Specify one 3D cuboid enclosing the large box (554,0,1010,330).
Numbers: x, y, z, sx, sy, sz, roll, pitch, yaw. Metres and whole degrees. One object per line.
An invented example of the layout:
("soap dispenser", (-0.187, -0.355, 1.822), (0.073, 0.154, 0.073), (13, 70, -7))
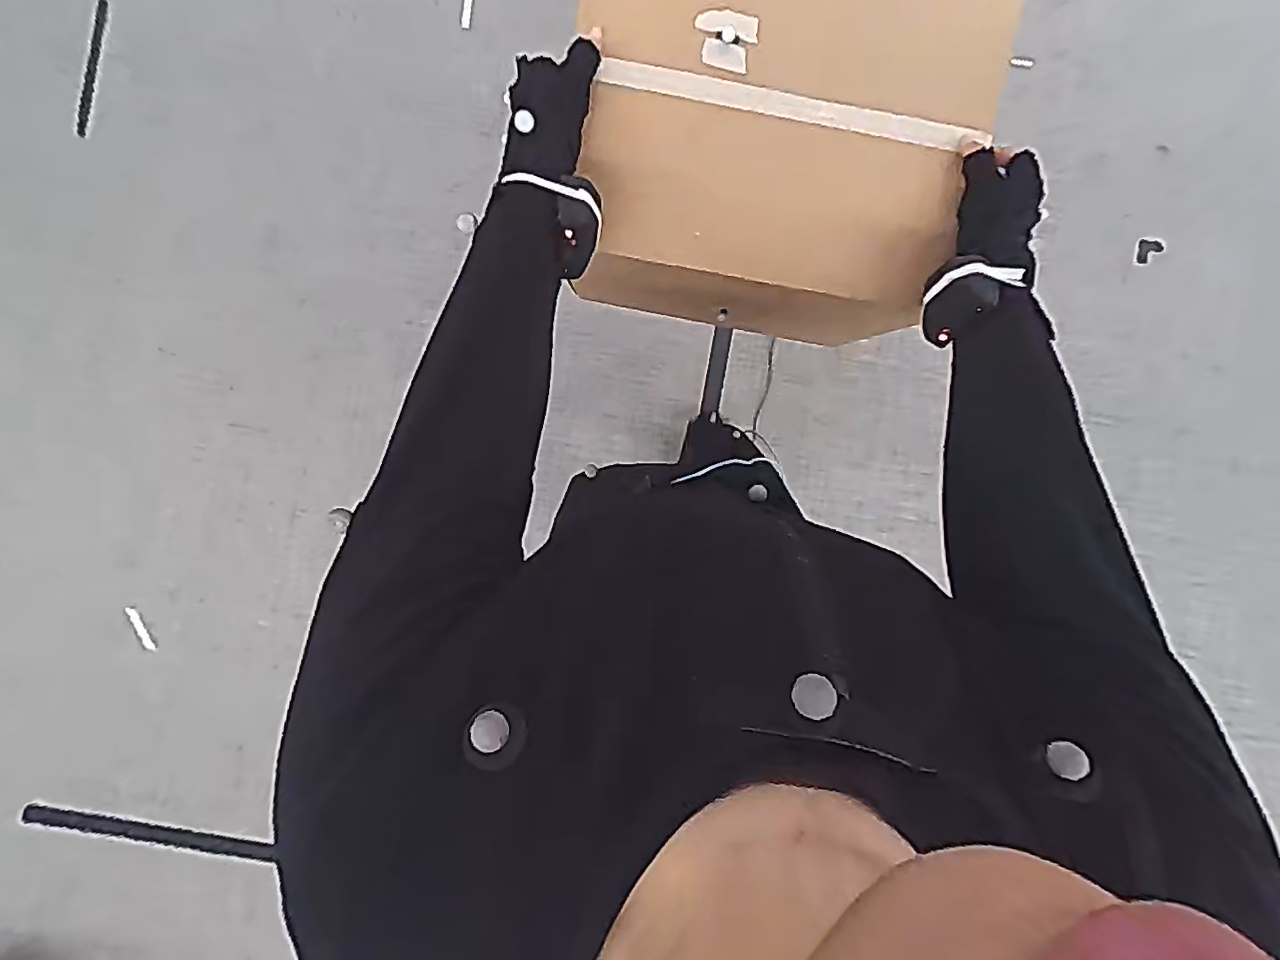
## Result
("large box", (0.133, -0.384, 0.668), (0.408, 0.320, 0.320), (10, 97, -2))
